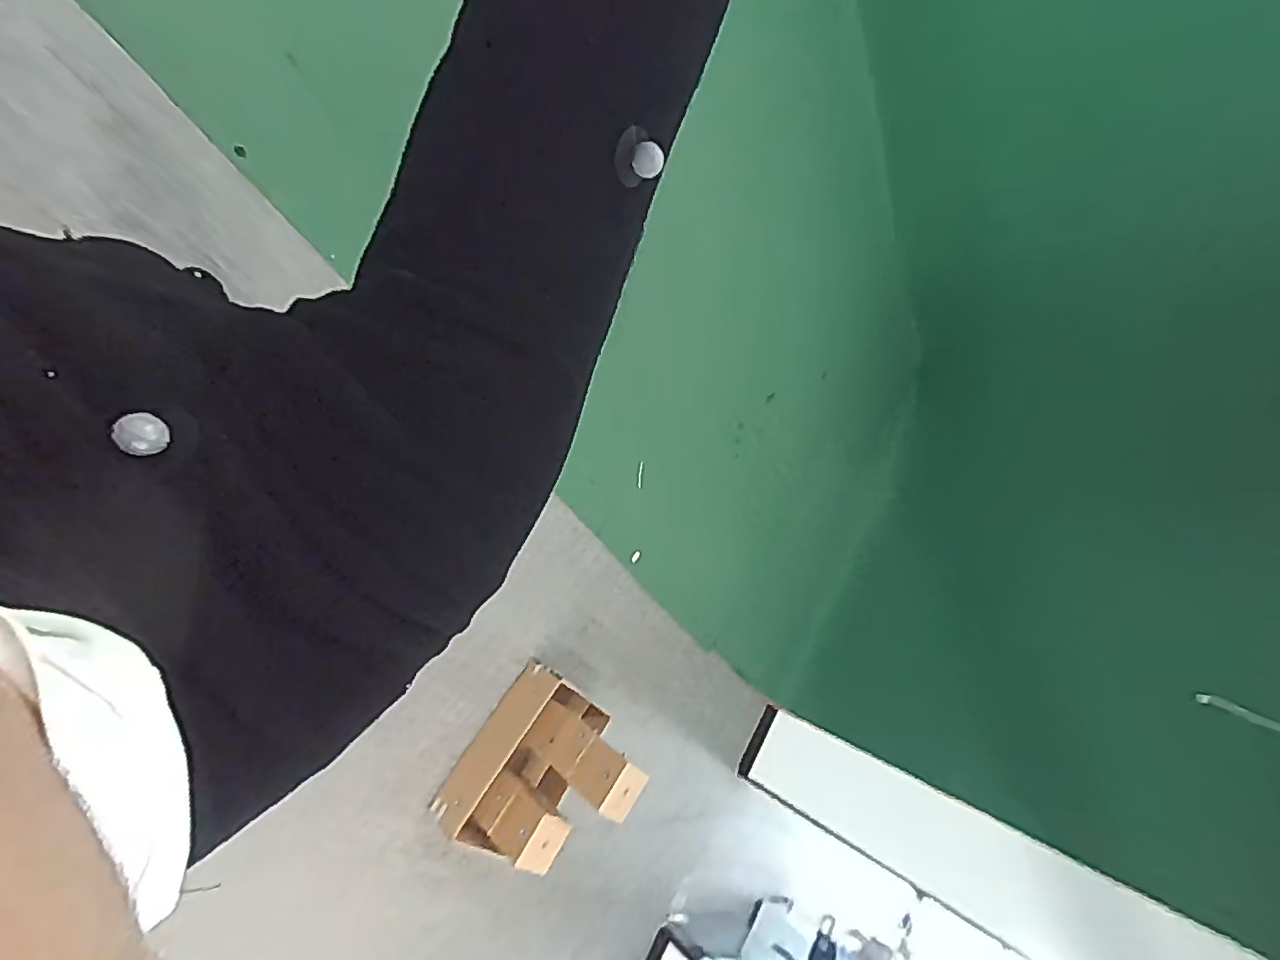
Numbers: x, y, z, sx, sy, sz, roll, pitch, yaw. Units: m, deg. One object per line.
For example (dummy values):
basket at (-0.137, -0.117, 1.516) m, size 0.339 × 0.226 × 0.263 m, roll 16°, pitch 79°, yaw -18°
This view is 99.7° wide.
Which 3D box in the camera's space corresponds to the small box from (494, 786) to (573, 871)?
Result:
small box at (-0.372, 1.201, 1.873) m, size 0.179 × 0.176 × 0.168 m, roll -55°, pitch 131°, yaw -20°

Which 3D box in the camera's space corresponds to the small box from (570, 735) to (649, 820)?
small box at (-0.105, 1.016, 1.856) m, size 0.179 × 0.176 × 0.168 m, roll -53°, pitch 132°, yaw -21°
